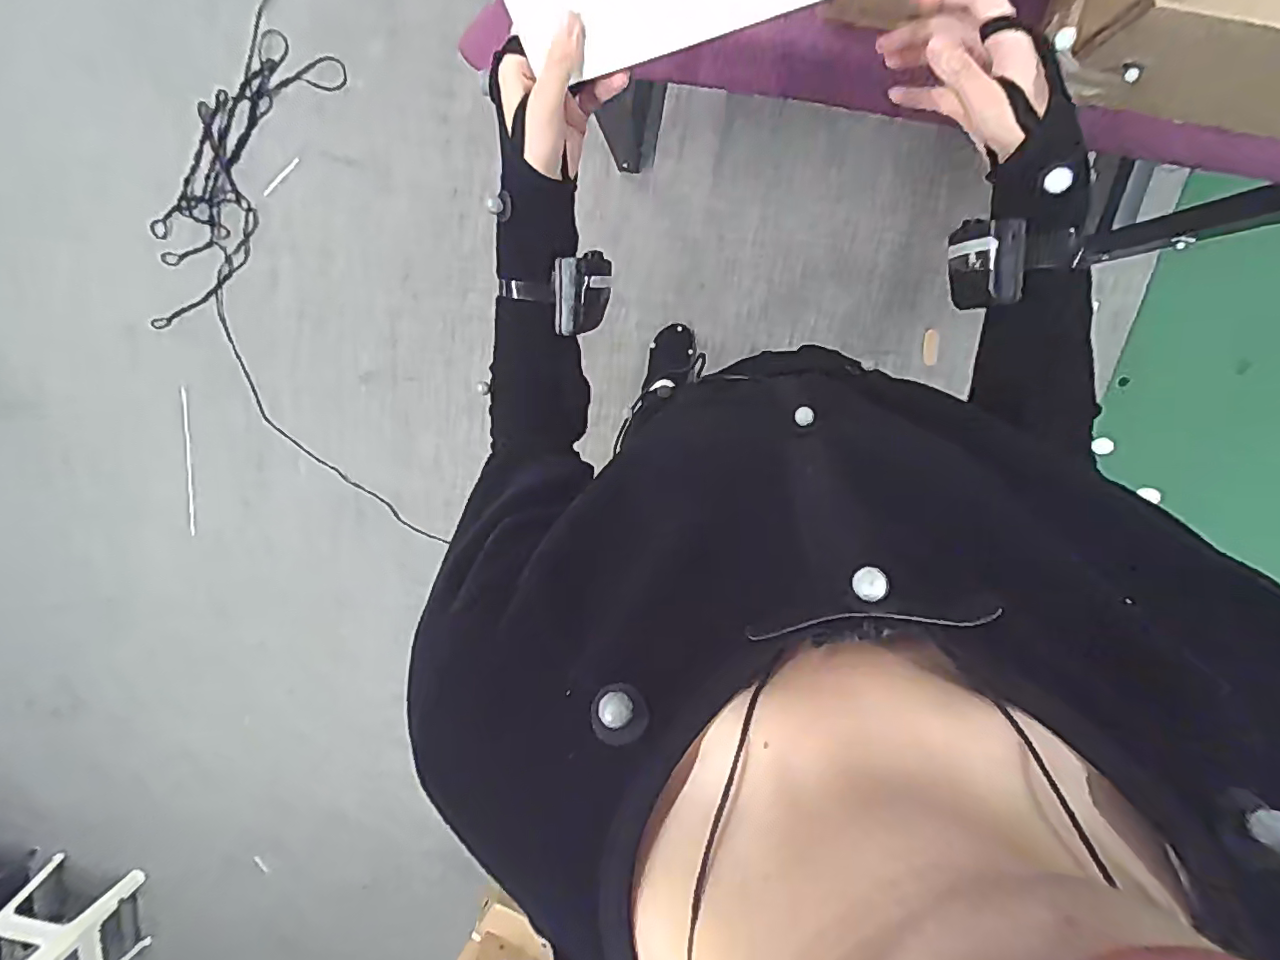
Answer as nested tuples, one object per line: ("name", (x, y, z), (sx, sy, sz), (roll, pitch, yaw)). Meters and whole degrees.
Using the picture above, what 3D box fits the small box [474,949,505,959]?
("small box", (-0.436, 1.475, 1.503), (0.168, 0.176, 0.179), (29, 105, -1))
